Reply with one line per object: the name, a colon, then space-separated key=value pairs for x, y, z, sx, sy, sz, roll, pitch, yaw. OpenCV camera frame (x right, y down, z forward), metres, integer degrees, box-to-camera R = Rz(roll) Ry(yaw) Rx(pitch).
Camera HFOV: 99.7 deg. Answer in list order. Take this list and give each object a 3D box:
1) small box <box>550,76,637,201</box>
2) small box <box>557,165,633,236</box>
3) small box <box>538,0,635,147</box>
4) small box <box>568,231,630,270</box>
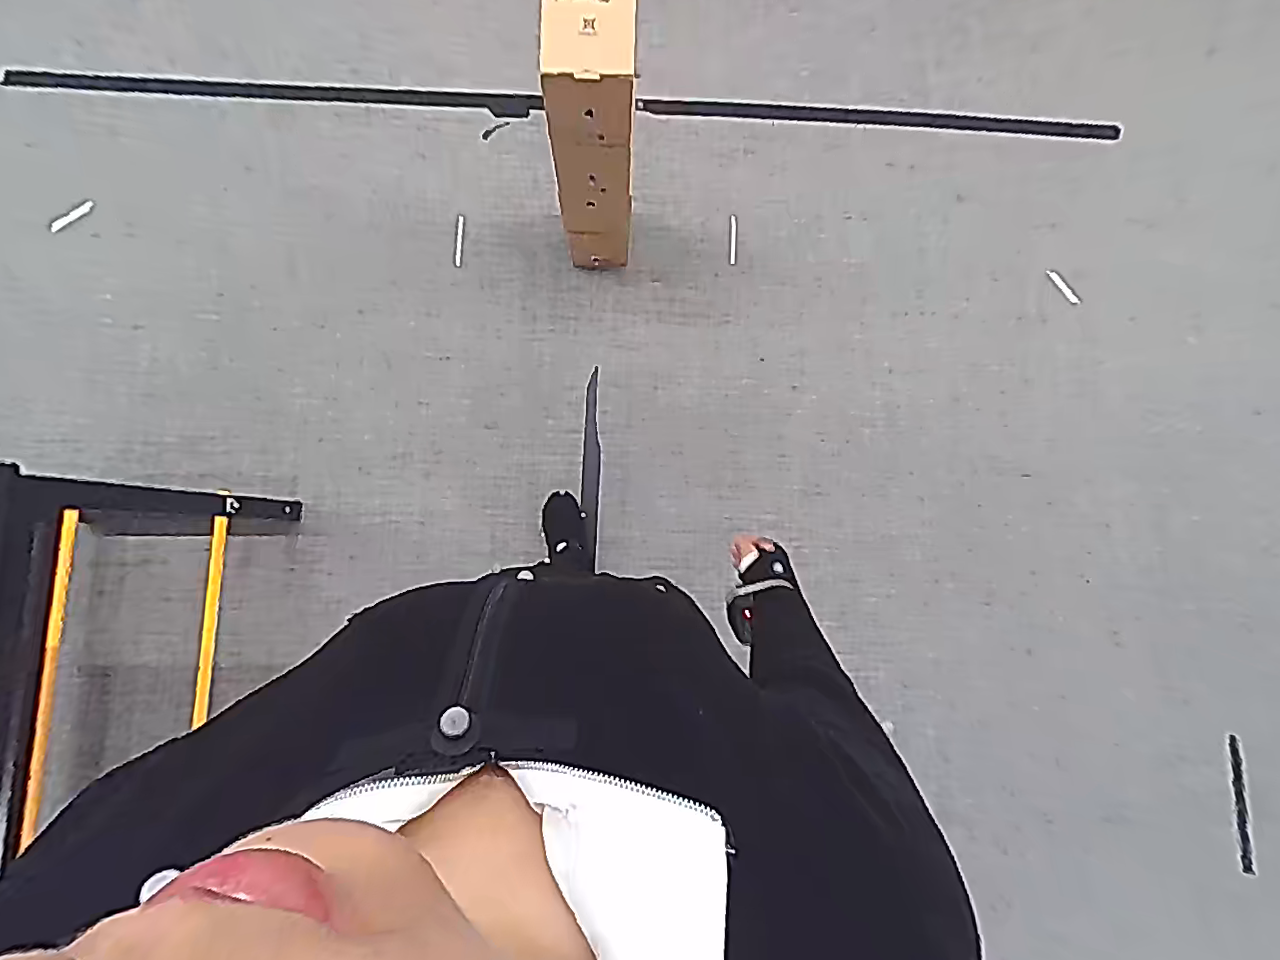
small box: x=-0.097 y=-0.747 z=1.179 sx=0.168 sy=0.176 sz=0.179 roll=4 pitch=84 yaw=-1
small box: x=-0.108 y=-0.727 z=1.342 sx=0.179 sy=0.176 sz=0.168 roll=1 pitch=84 yaw=-3
small box: x=-0.094 y=-0.762 z=1.015 sx=0.168 sy=0.176 sz=0.179 roll=2 pitch=84 yaw=-2
small box: x=-0.115 y=-0.709 z=1.505 sx=0.168 sy=0.176 sz=0.179 roll=-3 pitch=85 yaw=-2
